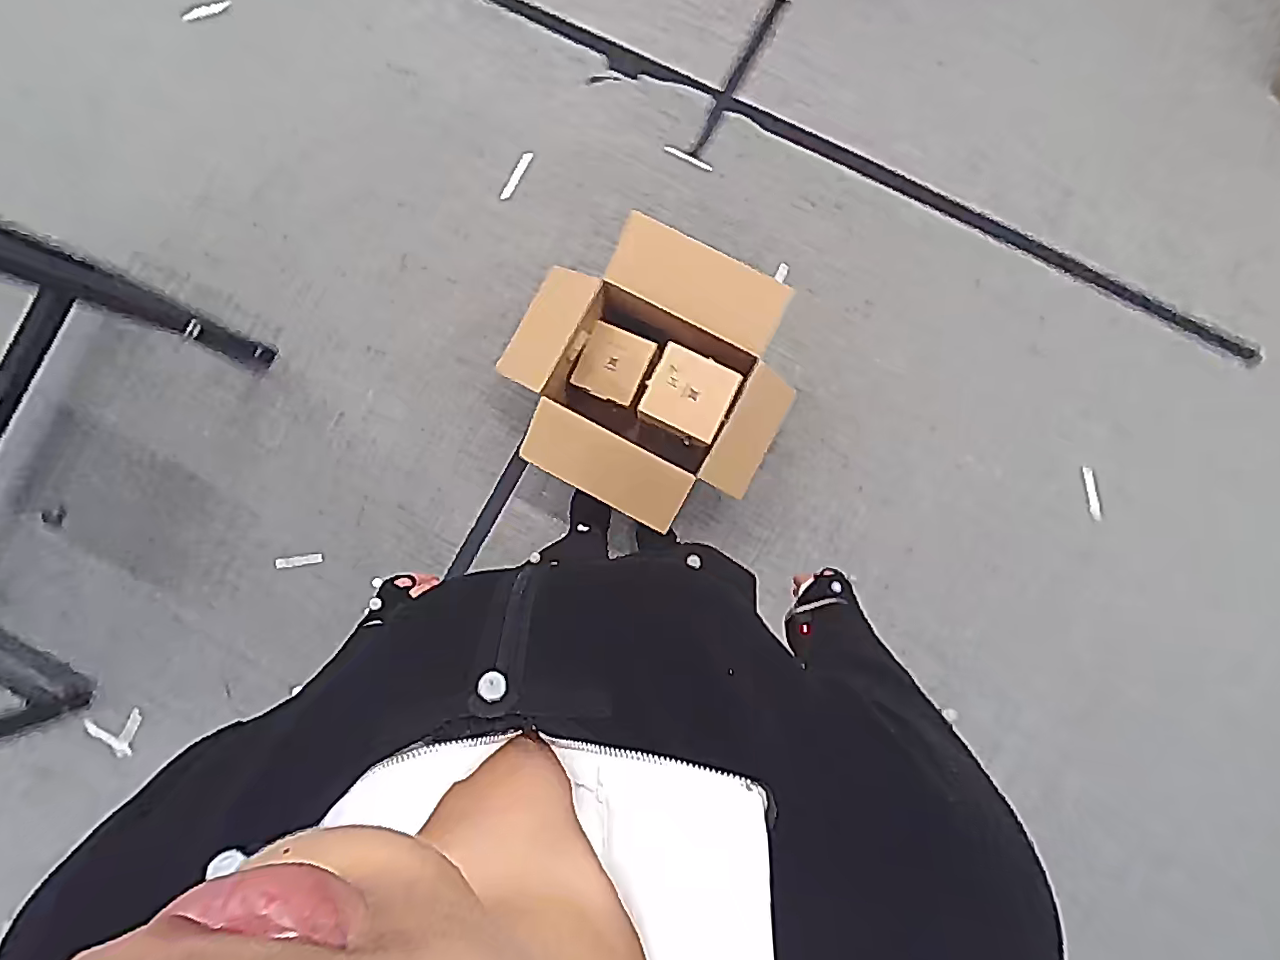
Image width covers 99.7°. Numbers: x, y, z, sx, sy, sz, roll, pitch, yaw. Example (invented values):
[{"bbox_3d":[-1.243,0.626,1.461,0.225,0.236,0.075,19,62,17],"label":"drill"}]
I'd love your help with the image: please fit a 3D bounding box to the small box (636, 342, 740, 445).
[{"bbox_3d":[0.105,-0.189,1.246,0.179,0.176,0.168,27,89,2],"label":"small box"}]
